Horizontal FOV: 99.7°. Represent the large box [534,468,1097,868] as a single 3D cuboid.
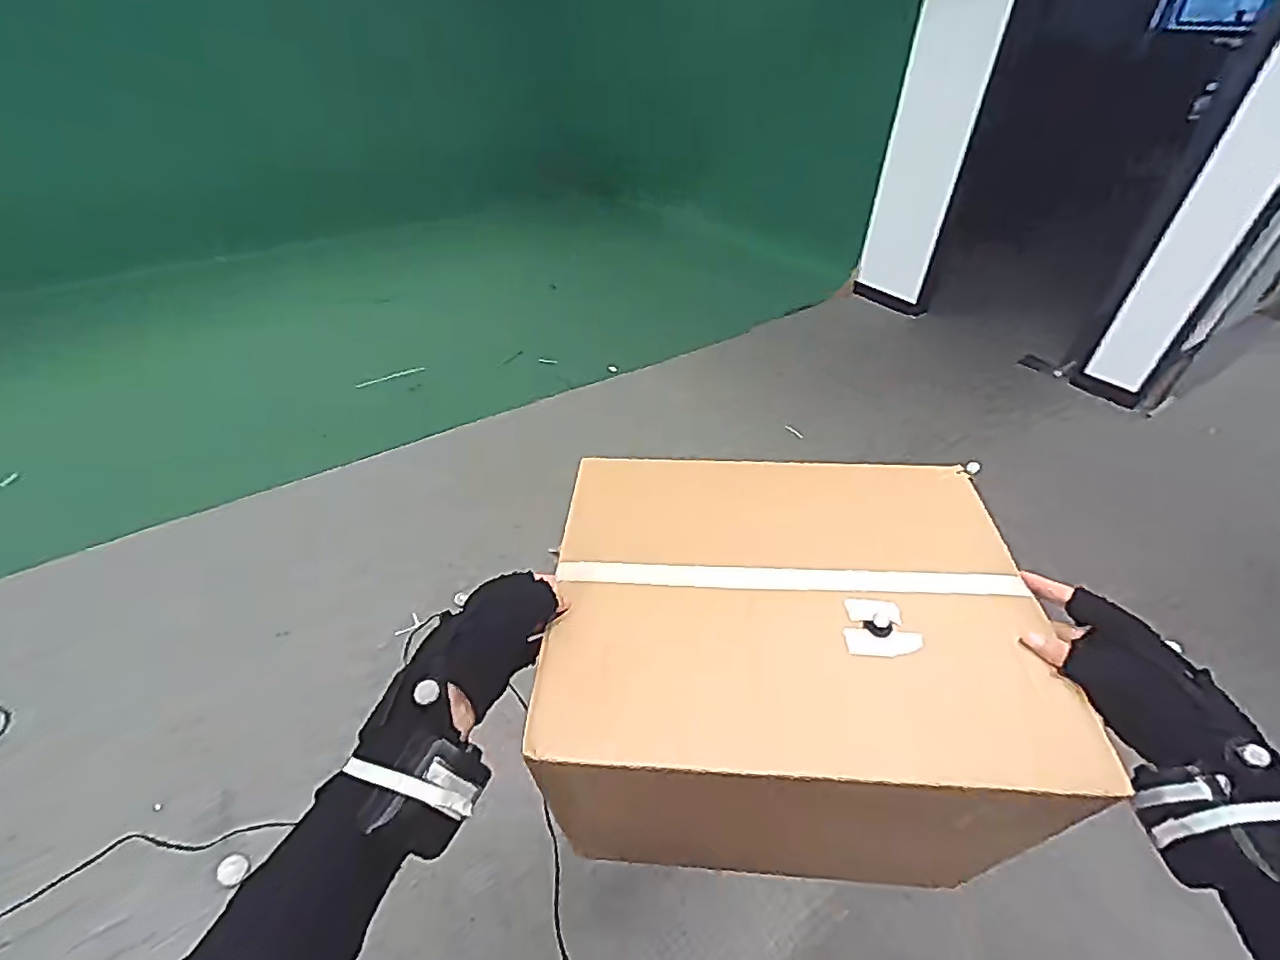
[{"bbox_3d":[0.129,0.200,0.590,0.408,0.320,0.320,1,45,4],"label":"large box"}]
